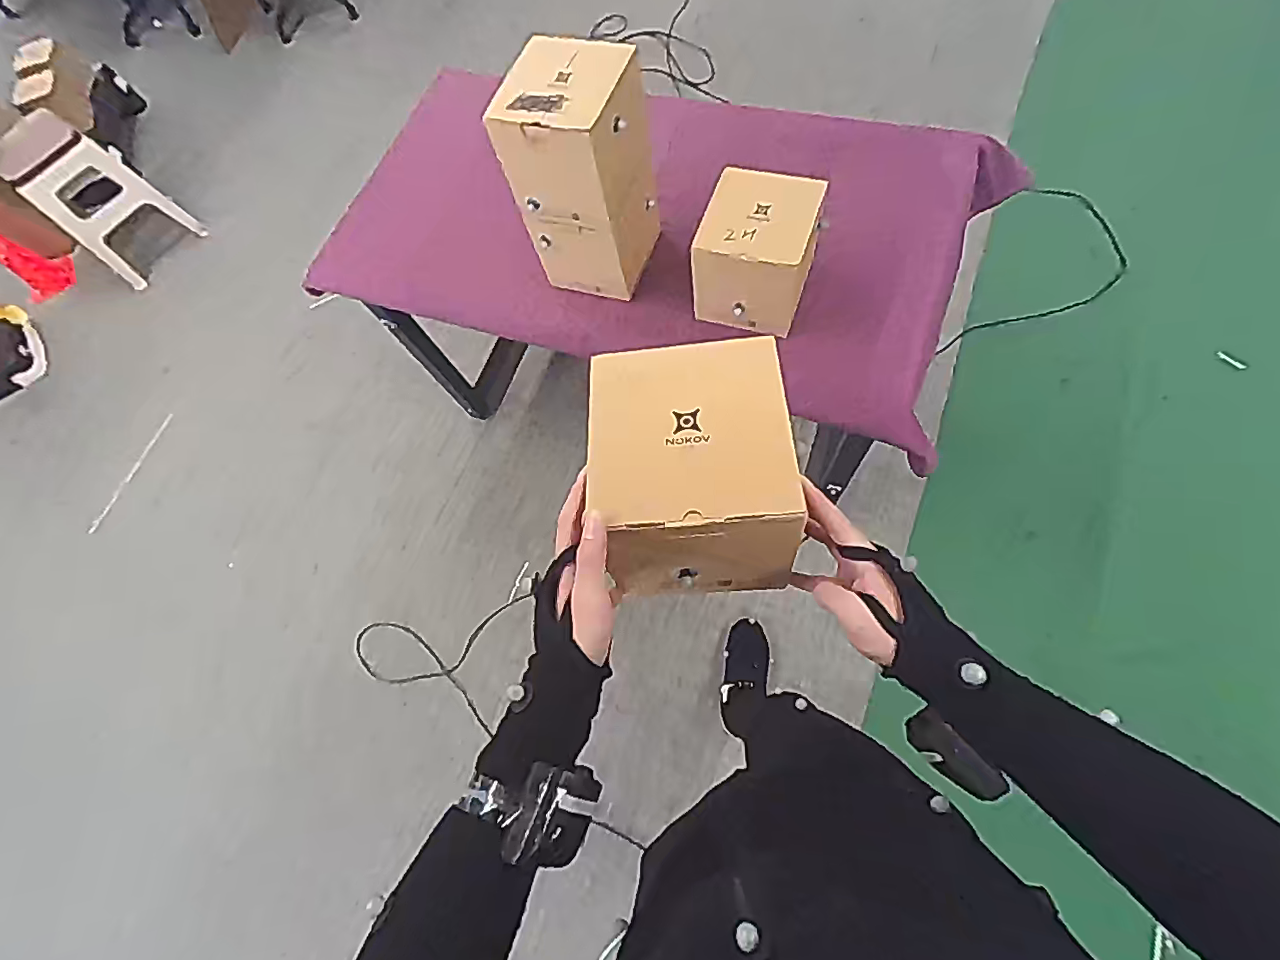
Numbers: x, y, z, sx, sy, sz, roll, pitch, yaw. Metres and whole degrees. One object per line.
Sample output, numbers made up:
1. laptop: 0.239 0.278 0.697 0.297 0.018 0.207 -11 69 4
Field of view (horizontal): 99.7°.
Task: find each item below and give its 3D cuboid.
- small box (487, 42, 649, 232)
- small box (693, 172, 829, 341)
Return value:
1. small box: -0.094 -0.509 0.815 0.168 0.176 0.179 18 71 14
2. small box: 0.194 -0.363 0.893 0.168 0.176 0.179 18 72 15
